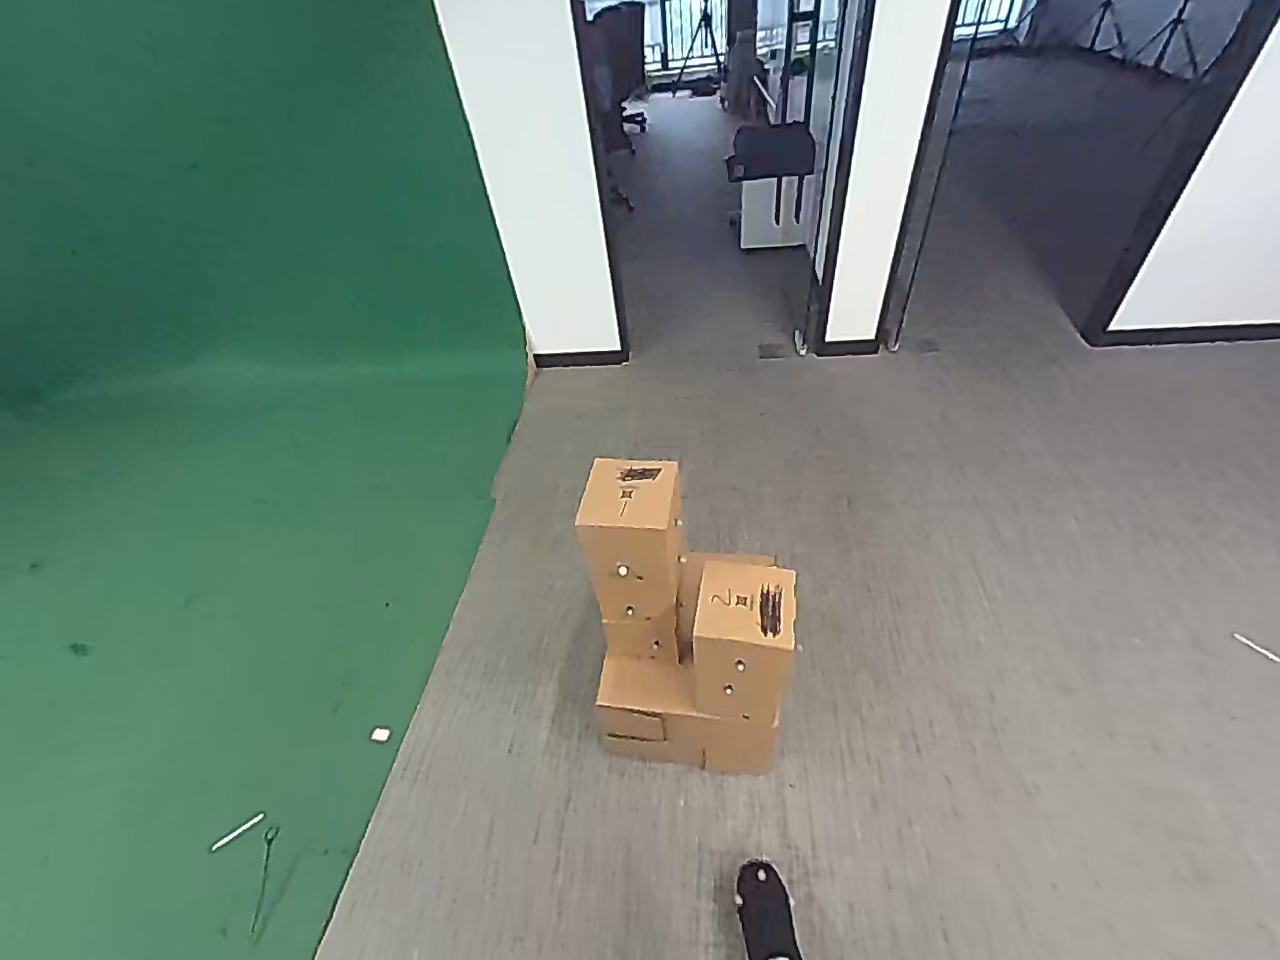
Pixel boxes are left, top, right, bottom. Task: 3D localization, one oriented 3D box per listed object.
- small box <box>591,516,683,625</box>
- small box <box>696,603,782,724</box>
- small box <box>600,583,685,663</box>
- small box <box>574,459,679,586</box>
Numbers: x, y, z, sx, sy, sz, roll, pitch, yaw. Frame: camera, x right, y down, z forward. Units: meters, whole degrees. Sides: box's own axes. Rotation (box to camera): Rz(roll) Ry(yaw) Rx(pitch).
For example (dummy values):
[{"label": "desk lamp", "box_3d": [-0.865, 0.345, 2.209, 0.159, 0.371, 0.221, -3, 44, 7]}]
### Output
[{"label": "small box", "box_3d": [0.002, 0.189, 1.165, 0.168, 0.176, 0.179, 2, 45, 11]}, {"label": "small box", "box_3d": [0.212, 0.391, 1.155, 0.168, 0.176, 0.179, 3, 43, 12]}, {"label": "small box", "box_3d": [0.015, 0.310, 1.275, 0.168, 0.176, 0.179, 2, 43, 11]}, {"label": "small box", "box_3d": [-0.016, 0.080, 1.045, 0.168, 0.176, 0.179, 2, 45, 11]}]
